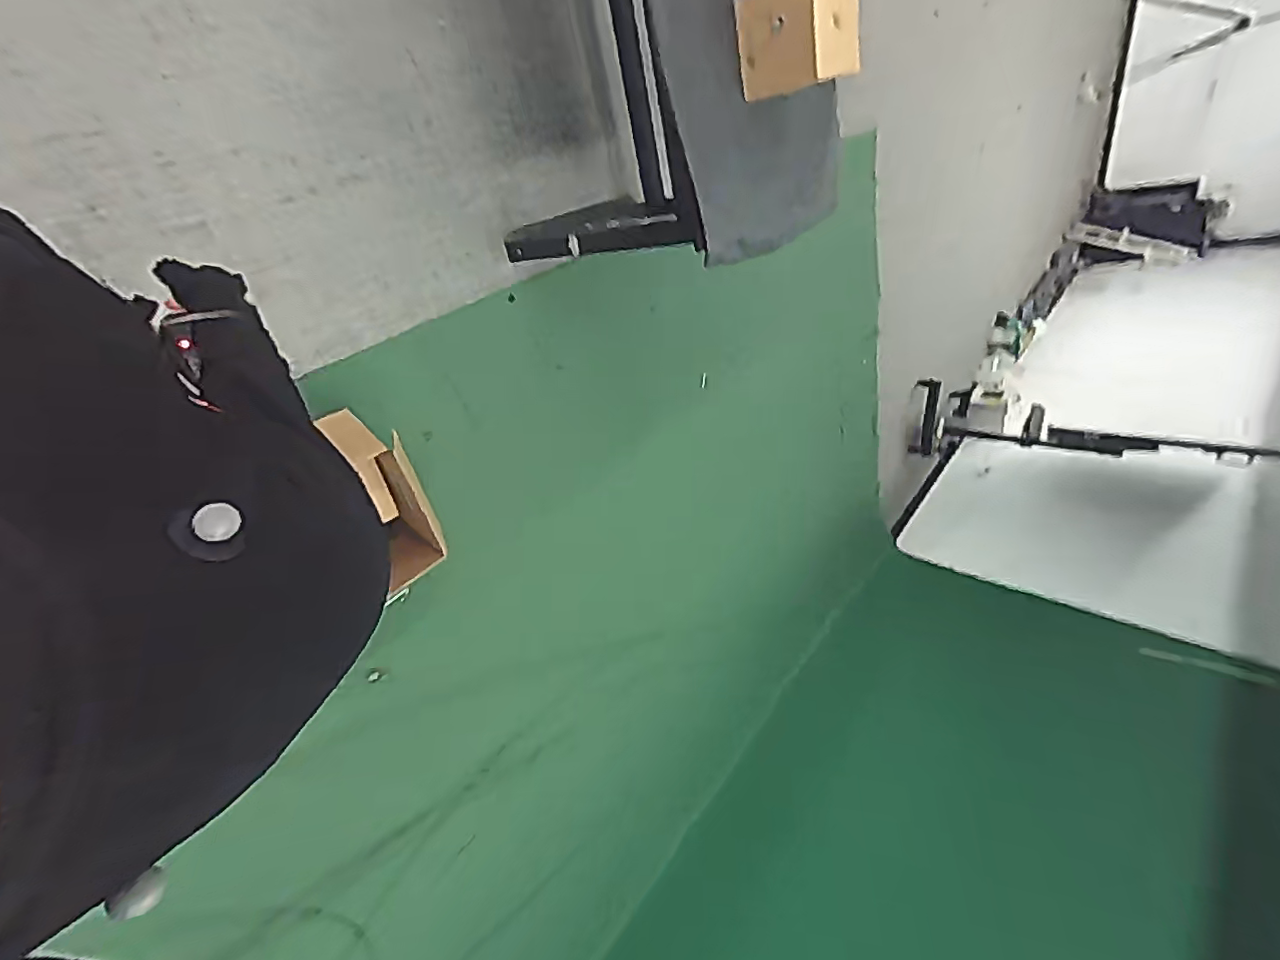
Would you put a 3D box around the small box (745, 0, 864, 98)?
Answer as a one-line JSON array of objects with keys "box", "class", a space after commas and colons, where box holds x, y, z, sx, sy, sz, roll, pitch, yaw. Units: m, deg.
[{"box": [0.317, -0.868, 1.054, 0.179, 0.176, 0.168, -38, 128, -33], "class": "small box"}]
